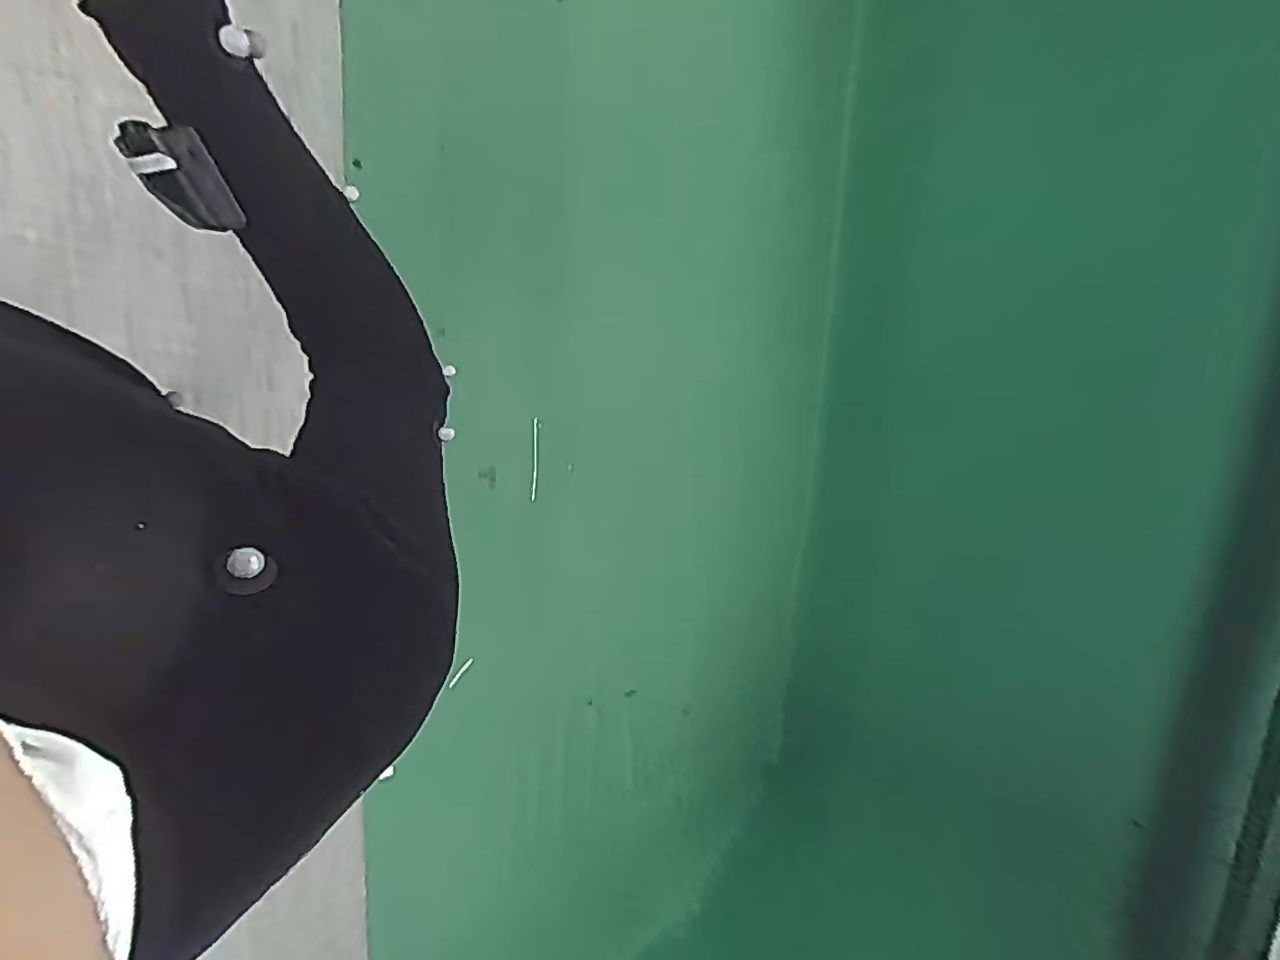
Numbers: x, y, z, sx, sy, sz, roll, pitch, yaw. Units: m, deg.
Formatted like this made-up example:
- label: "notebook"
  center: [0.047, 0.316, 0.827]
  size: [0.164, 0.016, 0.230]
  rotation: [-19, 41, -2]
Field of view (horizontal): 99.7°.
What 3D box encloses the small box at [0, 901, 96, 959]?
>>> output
- label: "small box"
  center: [-1.275, 1.051, 1.148]
  size: [0.168, 0.176, 0.179]
  rotation: [-7, 104, -47]
